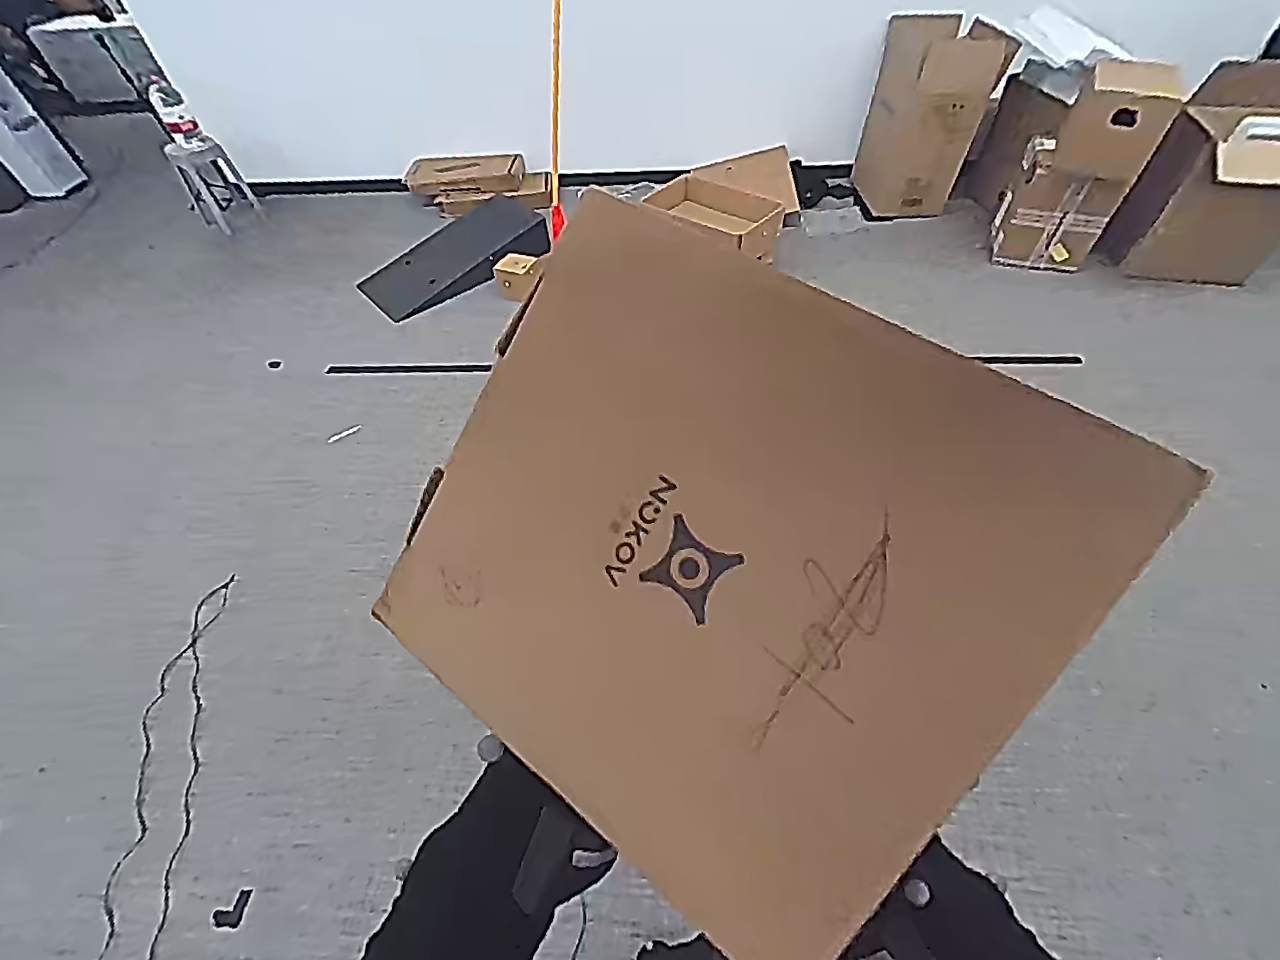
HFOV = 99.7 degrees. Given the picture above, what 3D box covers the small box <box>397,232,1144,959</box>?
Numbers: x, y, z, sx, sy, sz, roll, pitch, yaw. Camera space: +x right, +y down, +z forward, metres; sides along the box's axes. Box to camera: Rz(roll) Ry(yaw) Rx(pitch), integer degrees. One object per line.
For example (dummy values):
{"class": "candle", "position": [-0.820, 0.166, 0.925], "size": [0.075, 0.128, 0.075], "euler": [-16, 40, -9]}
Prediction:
{"class": "small box", "position": [0.041, 0.029, 0.243], "size": [0.179, 0.176, 0.168], "euler": [33, 101, 18]}
